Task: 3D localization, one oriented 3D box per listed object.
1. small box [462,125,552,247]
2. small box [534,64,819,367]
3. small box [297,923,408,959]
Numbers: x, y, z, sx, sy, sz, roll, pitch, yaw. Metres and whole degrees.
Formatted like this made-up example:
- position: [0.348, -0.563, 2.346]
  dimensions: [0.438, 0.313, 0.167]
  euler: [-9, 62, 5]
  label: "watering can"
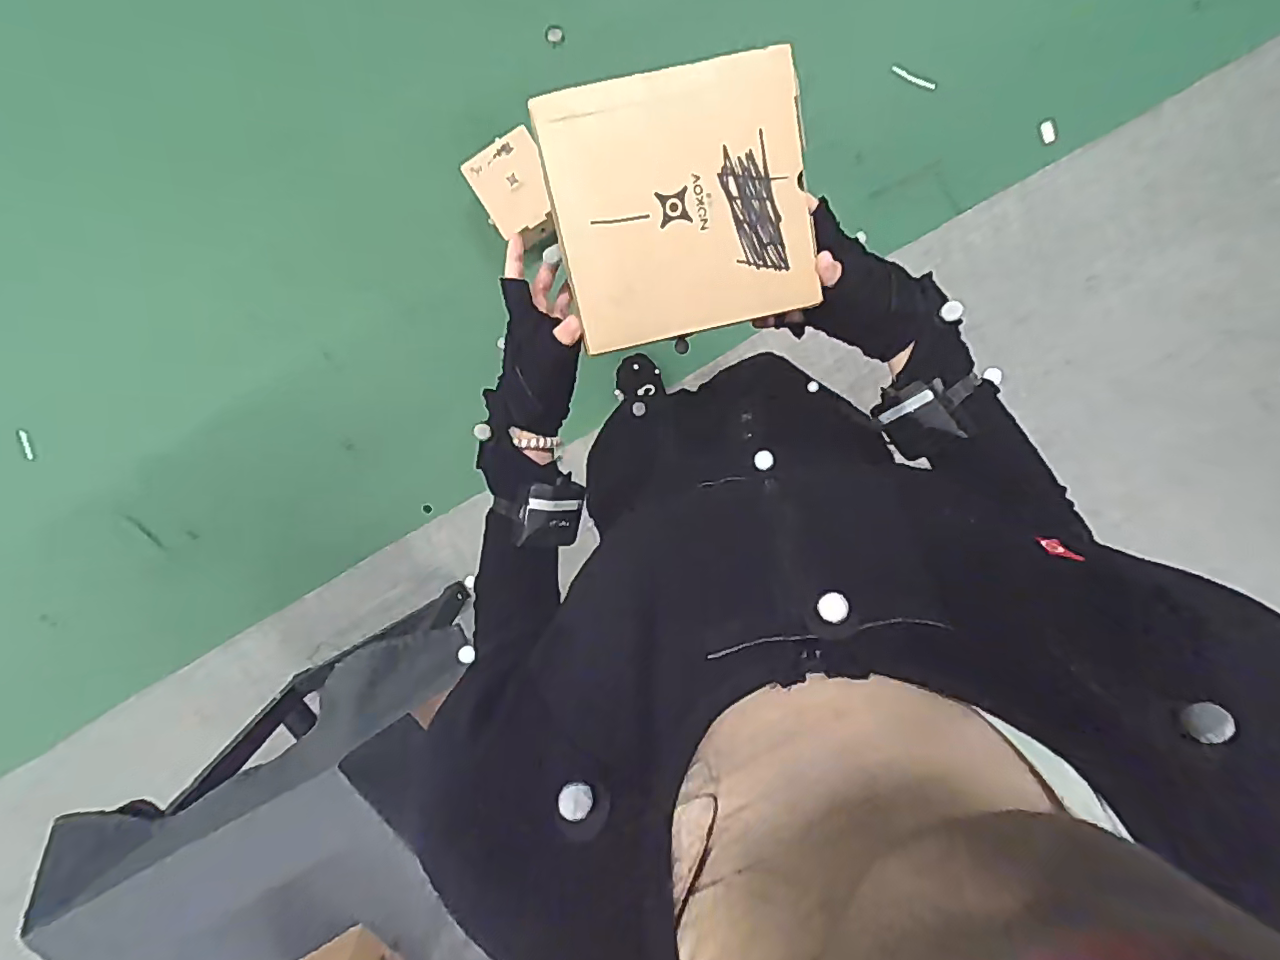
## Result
- position: [-0.269, -0.655, 1.234]
  dimensions: [0.168, 0.176, 0.179]
  euler: [-30, 104, 4]
  label: "small box"
- position: [0.022, -0.195, 0.445]
  dimensions: [0.179, 0.176, 0.168]
  euler: [-14, 105, -3]
  label: "small box"
- position: [-0.475, 0.850, 0.835]
  dimensions: [0.179, 0.176, 0.168]
  euler: [-32, 104, 5]
  label: "small box"
